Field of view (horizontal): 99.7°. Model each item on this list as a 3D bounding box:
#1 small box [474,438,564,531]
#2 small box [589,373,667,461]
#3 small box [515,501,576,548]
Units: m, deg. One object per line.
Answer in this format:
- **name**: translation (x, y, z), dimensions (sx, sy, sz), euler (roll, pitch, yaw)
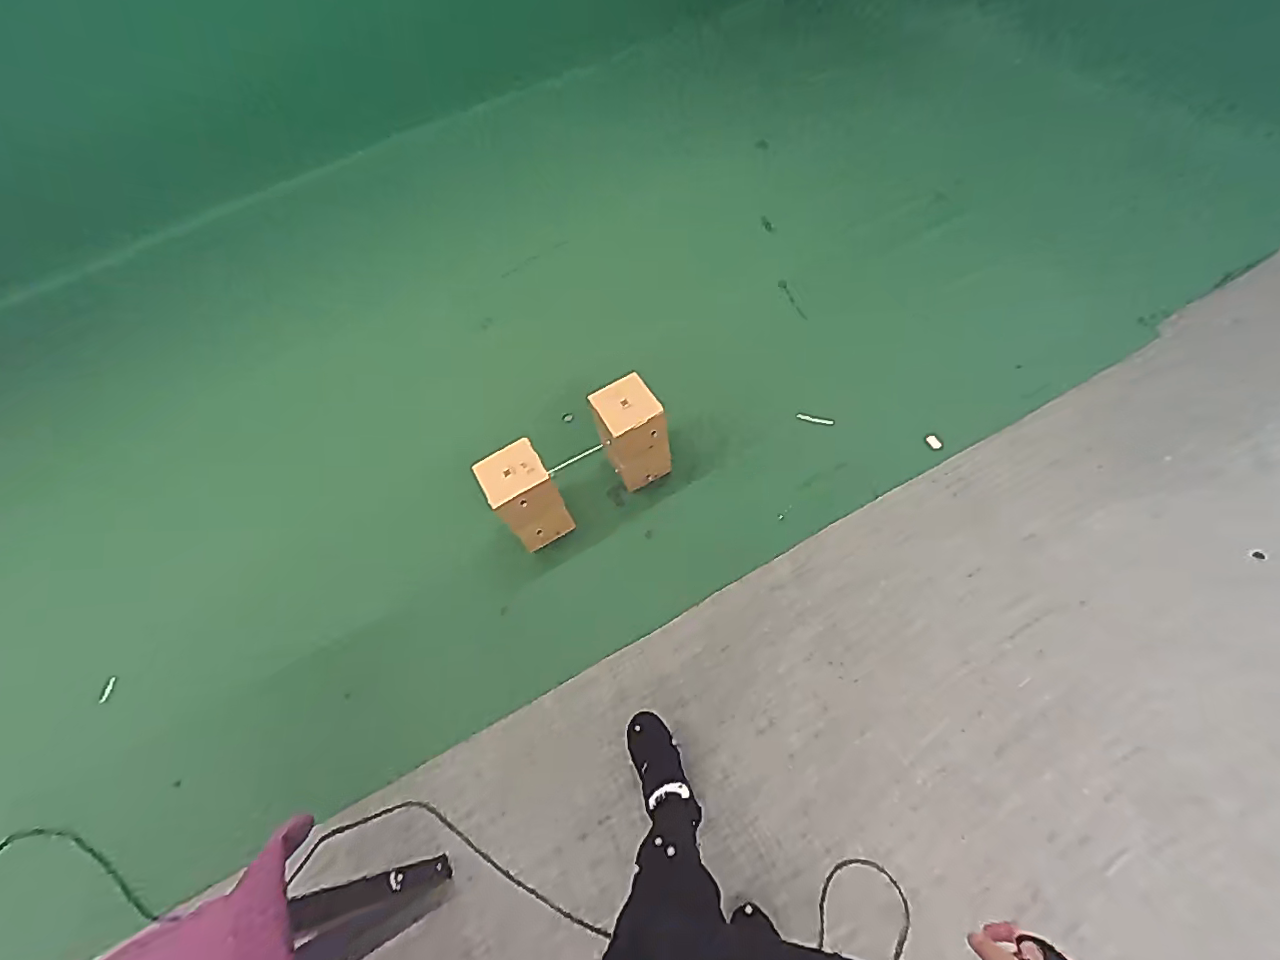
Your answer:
- **small box**: translation (-0.343, 0.019, 1.558), dimensions (0.179, 0.176, 0.168), euler (-30, 61, -8)
- **small box**: translation (-0.029, -0.180, 1.625), dimensions (0.168, 0.176, 0.179), euler (-29, 61, -9)
- **small box**: translation (-0.322, 0.095, 1.703), dimensions (0.168, 0.176, 0.179), euler (-30, 60, -8)
